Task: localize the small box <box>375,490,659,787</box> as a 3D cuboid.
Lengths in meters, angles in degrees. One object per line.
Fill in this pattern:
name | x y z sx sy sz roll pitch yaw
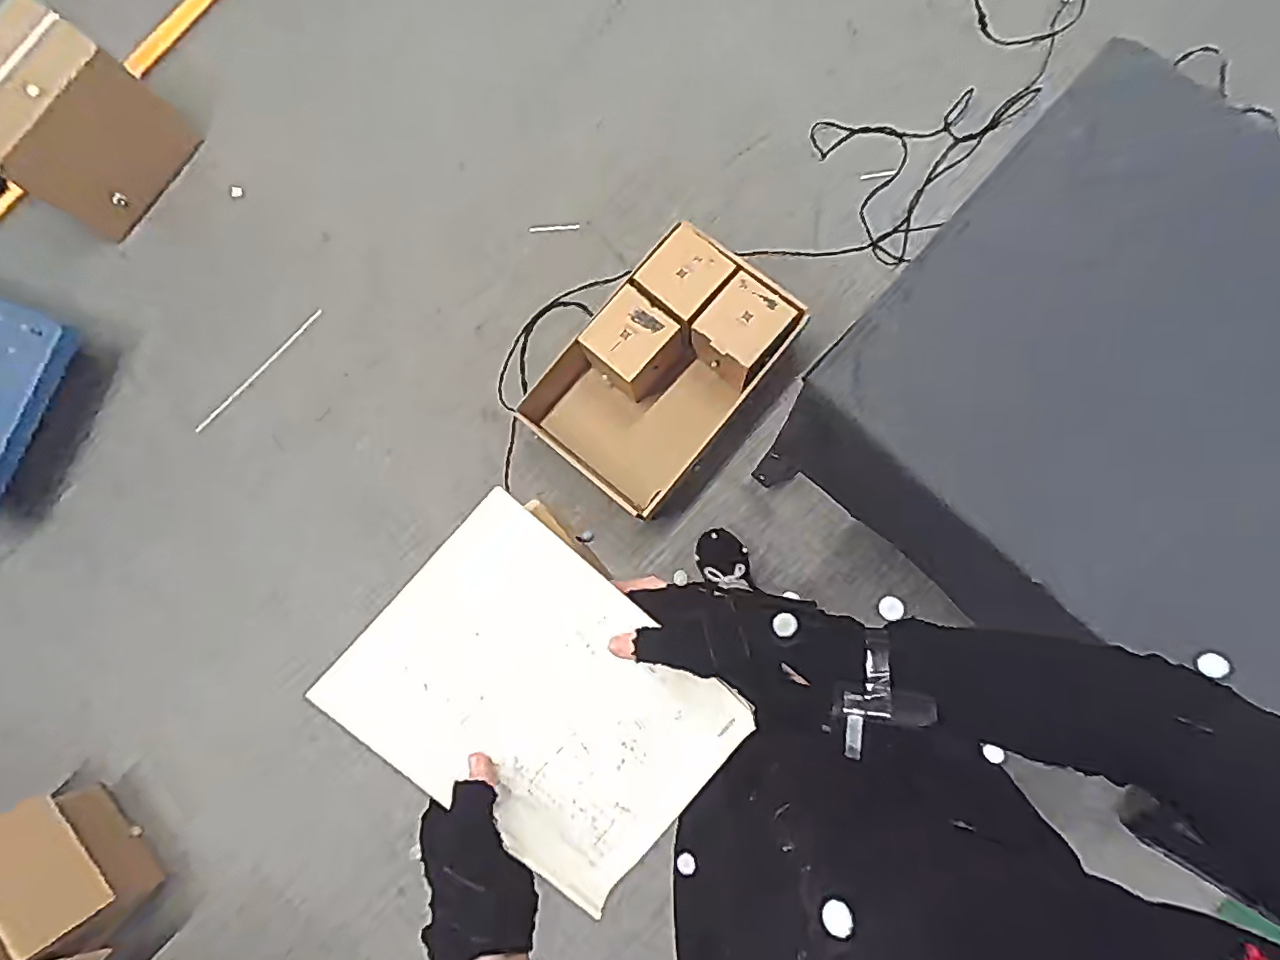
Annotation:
small box | -0.100 0.137 0.511 0.168 0.176 0.179 -39 81 -6
